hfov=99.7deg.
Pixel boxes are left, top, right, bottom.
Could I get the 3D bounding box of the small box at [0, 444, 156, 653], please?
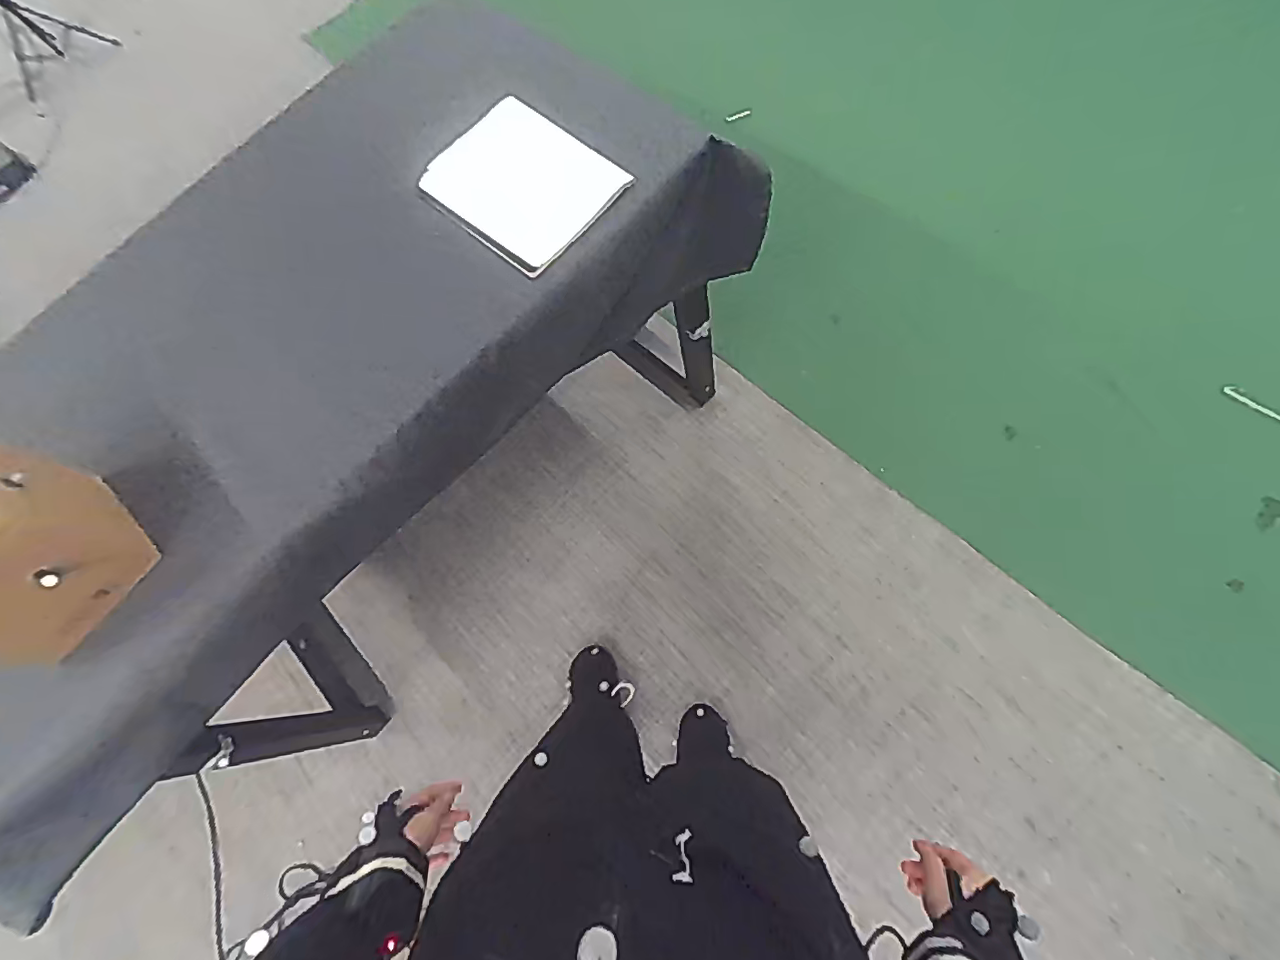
[{"bbox_3d":[-0.695,0.071,0.587,0.179,0.176,0.168,36,79,20],"label":"small box"}]
